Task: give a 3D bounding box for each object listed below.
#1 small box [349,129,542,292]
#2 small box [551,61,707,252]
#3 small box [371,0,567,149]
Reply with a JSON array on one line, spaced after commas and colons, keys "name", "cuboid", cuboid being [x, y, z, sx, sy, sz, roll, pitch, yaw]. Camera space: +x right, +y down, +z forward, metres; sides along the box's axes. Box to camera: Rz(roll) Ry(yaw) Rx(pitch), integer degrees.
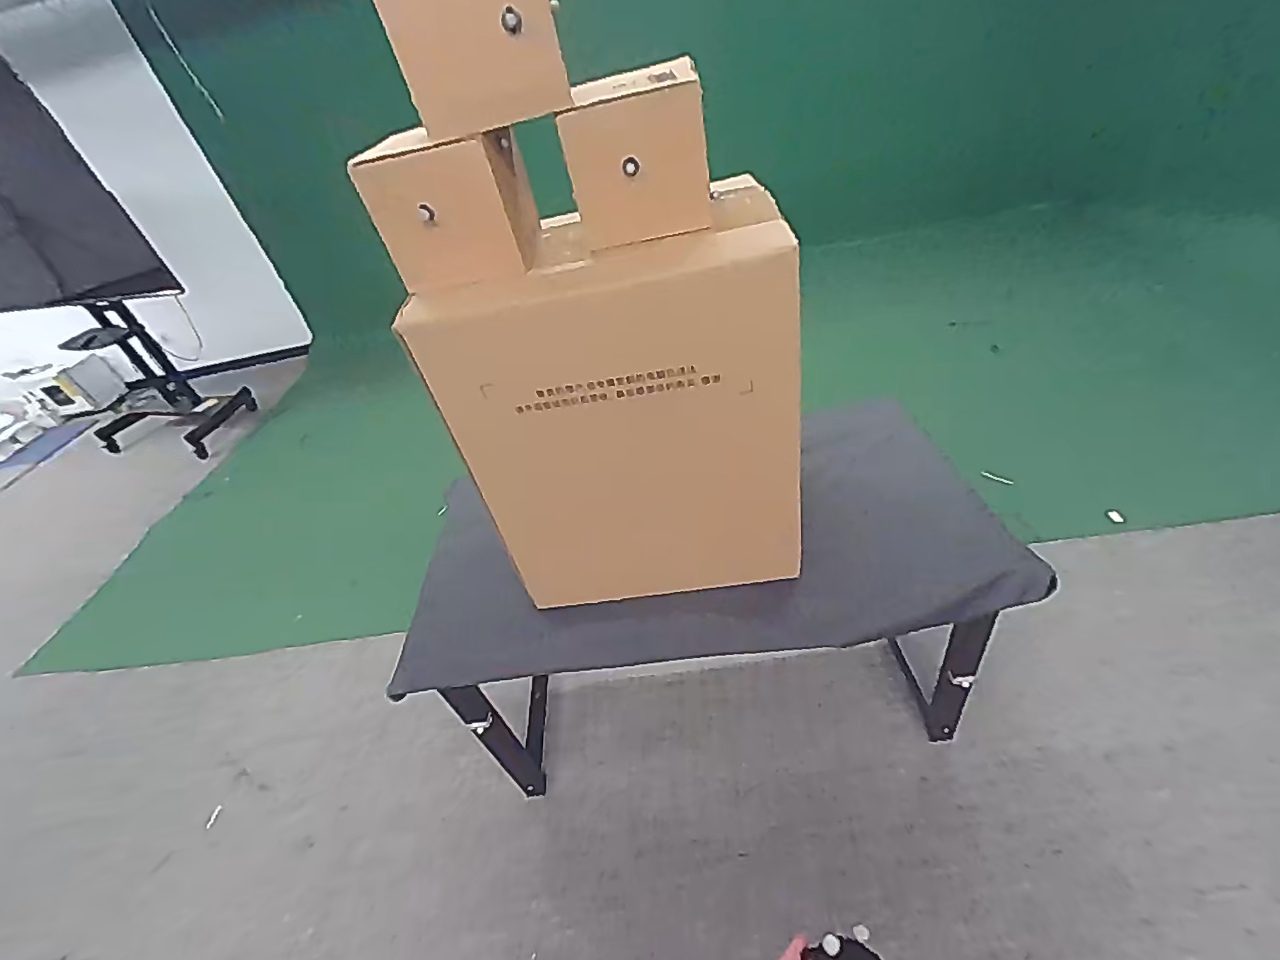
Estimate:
[{"name": "small box", "cuboid": [-0.255, -0.382, 0.757, 0.179, 0.176, 0.168, -8, 44, 8]}, {"name": "small box", "cuboid": [-0.003, -0.437, 0.739, 0.179, 0.176, 0.168, -8, 44, 9]}, {"name": "small box", "cuboid": [-0.190, -0.517, 0.639, 0.179, 0.176, 0.168, -16, 41, 1]}]
